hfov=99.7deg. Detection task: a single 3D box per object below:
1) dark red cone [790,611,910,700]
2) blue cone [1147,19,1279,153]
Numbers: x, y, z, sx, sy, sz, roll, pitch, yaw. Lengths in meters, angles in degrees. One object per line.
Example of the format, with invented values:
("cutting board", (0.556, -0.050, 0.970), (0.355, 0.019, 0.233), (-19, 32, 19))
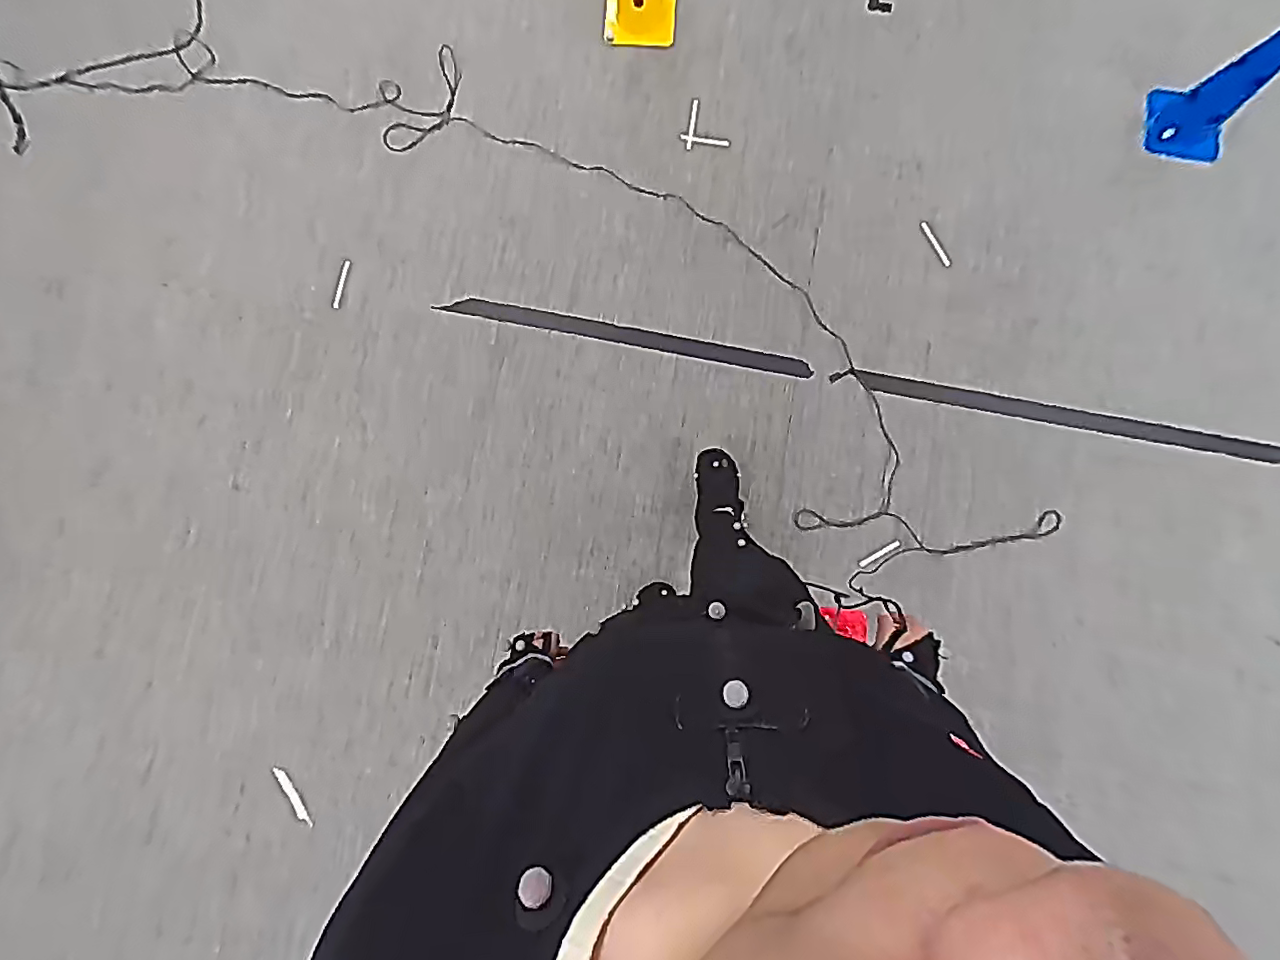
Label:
("dark red cone", (0.461, 0.397, 1.140), (0.202, 0.394, 0.201), (3, 82, 1))
("blue cone", (1.493, -1.018, 1.328), (0.193, 0.380, 0.192), (11, 82, 2))
